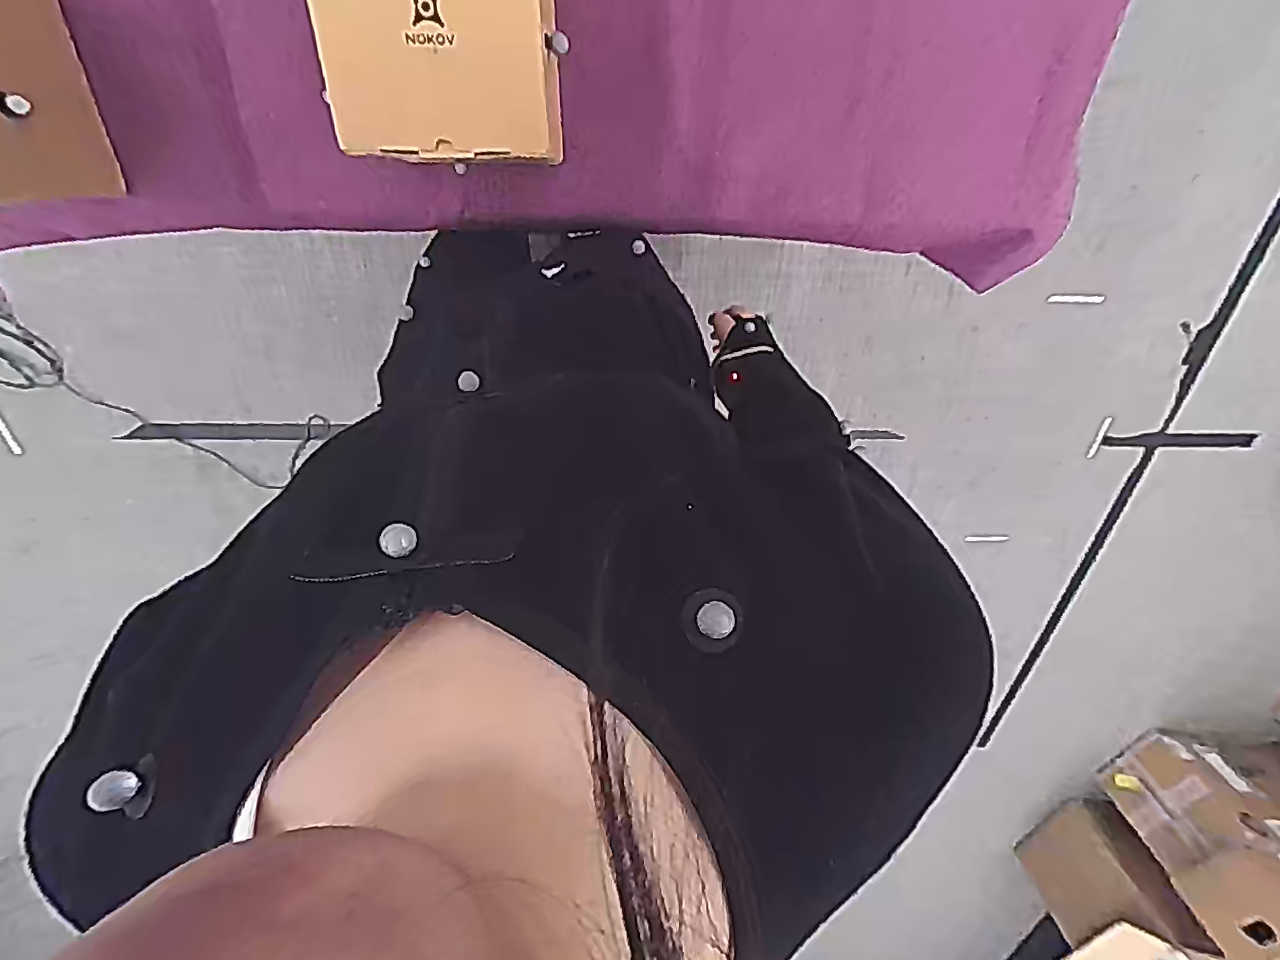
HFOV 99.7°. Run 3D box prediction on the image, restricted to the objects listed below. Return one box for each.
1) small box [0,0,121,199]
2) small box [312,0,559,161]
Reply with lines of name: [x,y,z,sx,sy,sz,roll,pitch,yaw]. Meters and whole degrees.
small box: [-0.606,-0.338,0.452,0.168,0.176,0.179,0,121,-5]
small box: [-0.160,-0.379,0.465,0.168,0.176,0.179,-1,120,-4]
